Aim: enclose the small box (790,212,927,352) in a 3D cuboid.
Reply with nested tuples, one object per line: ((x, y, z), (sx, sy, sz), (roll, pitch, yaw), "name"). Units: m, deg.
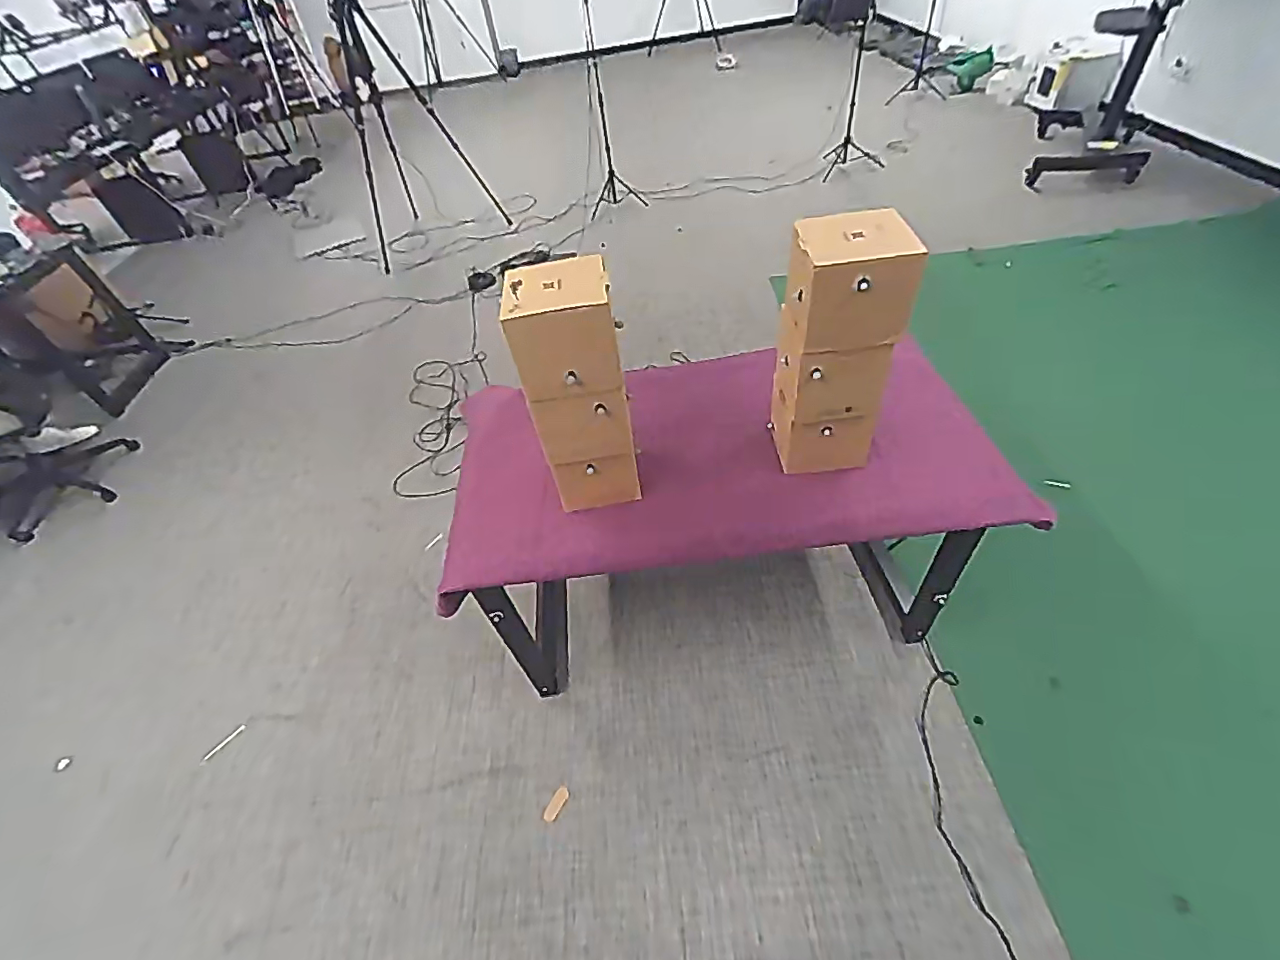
((0.363, -0.339, 0.940), (0.179, 0.176, 0.168), (-4, 48, 5), "small box")

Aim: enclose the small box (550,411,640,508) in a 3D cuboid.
((-0.095, -0.058, 1.203), (0.179, 0.176, 0.168), (-10, 48, 1), "small box")

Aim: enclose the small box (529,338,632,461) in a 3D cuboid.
((-0.110, -0.158, 1.071), (0.179, 0.176, 0.168), (-8, 47, 2), "small box")

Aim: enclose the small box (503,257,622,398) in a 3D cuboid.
((-0.127, -0.264, 0.948), (0.179, 0.176, 0.168), (-8, 47, 1), "small box")

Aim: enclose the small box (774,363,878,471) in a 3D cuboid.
((0.397, -0.134, 1.193), (0.179, 0.176, 0.168), (-6, 48, 3), "small box")
